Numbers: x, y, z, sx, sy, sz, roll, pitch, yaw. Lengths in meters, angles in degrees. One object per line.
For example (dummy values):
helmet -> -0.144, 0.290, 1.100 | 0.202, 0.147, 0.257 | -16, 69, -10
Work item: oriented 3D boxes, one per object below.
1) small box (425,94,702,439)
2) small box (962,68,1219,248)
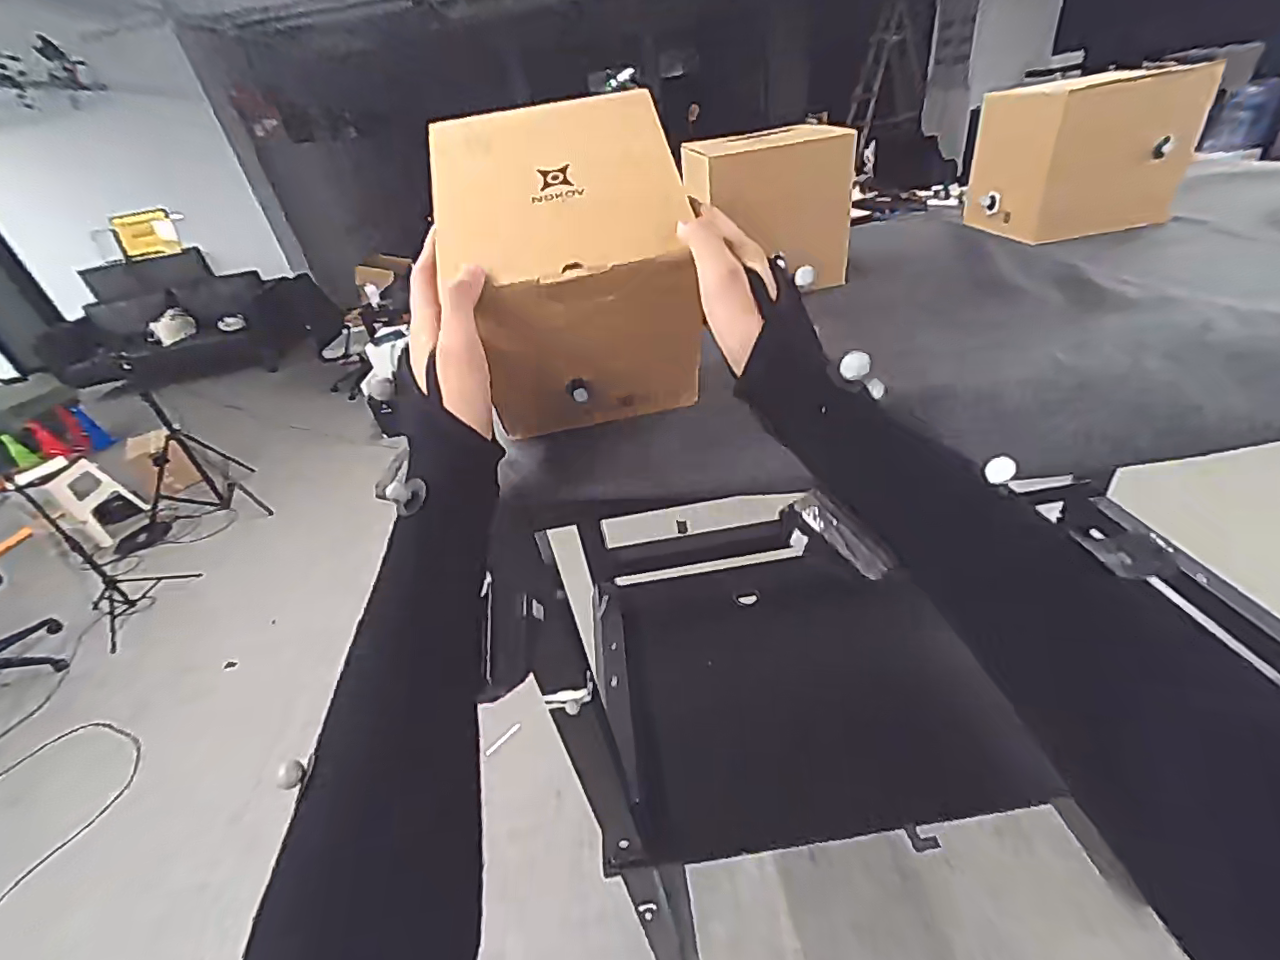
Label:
small box -> -0.056, -0.157, 0.429 | 0.168, 0.176, 0.179 | -12, 66, -3
small box -> 0.561, -0.417, 0.708 | 0.179, 0.176, 0.168 | -9, 33, 2
